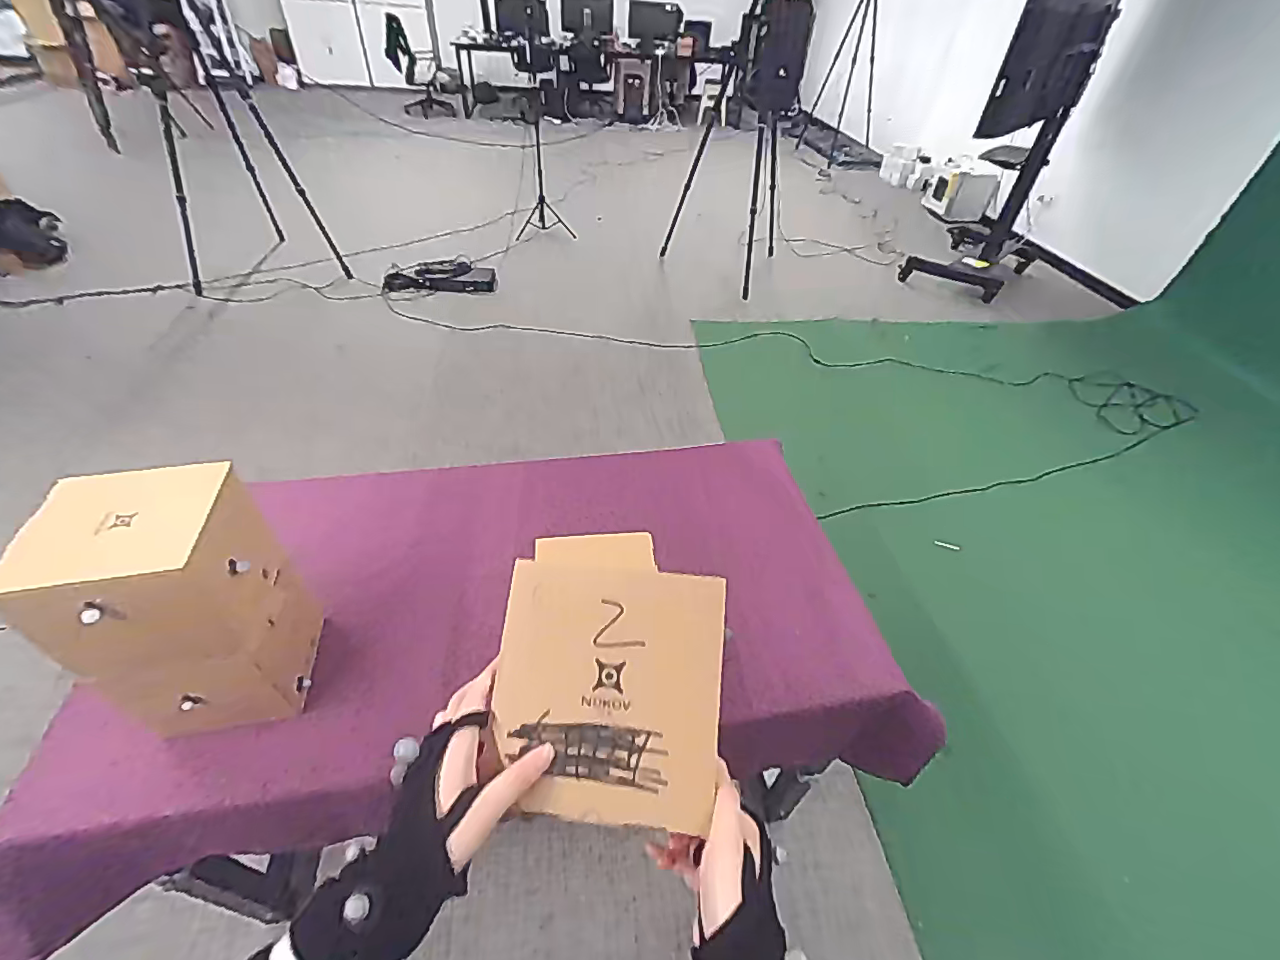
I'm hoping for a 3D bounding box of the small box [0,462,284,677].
[{"bbox_3d":[-0.551,0.103,0.627,0.179,0.176,0.168,-8,45,-11],"label":"small box"}]

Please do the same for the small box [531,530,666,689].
[{"bbox_3d":[-0.061,0.194,0.801,0.179,0.176,0.168,-2,45,-6],"label":"small box"}]

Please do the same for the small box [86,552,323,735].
[{"bbox_3d":[-0.563,0.221,0.737,0.179,0.176,0.168,-7,44,-10],"label":"small box"}]
